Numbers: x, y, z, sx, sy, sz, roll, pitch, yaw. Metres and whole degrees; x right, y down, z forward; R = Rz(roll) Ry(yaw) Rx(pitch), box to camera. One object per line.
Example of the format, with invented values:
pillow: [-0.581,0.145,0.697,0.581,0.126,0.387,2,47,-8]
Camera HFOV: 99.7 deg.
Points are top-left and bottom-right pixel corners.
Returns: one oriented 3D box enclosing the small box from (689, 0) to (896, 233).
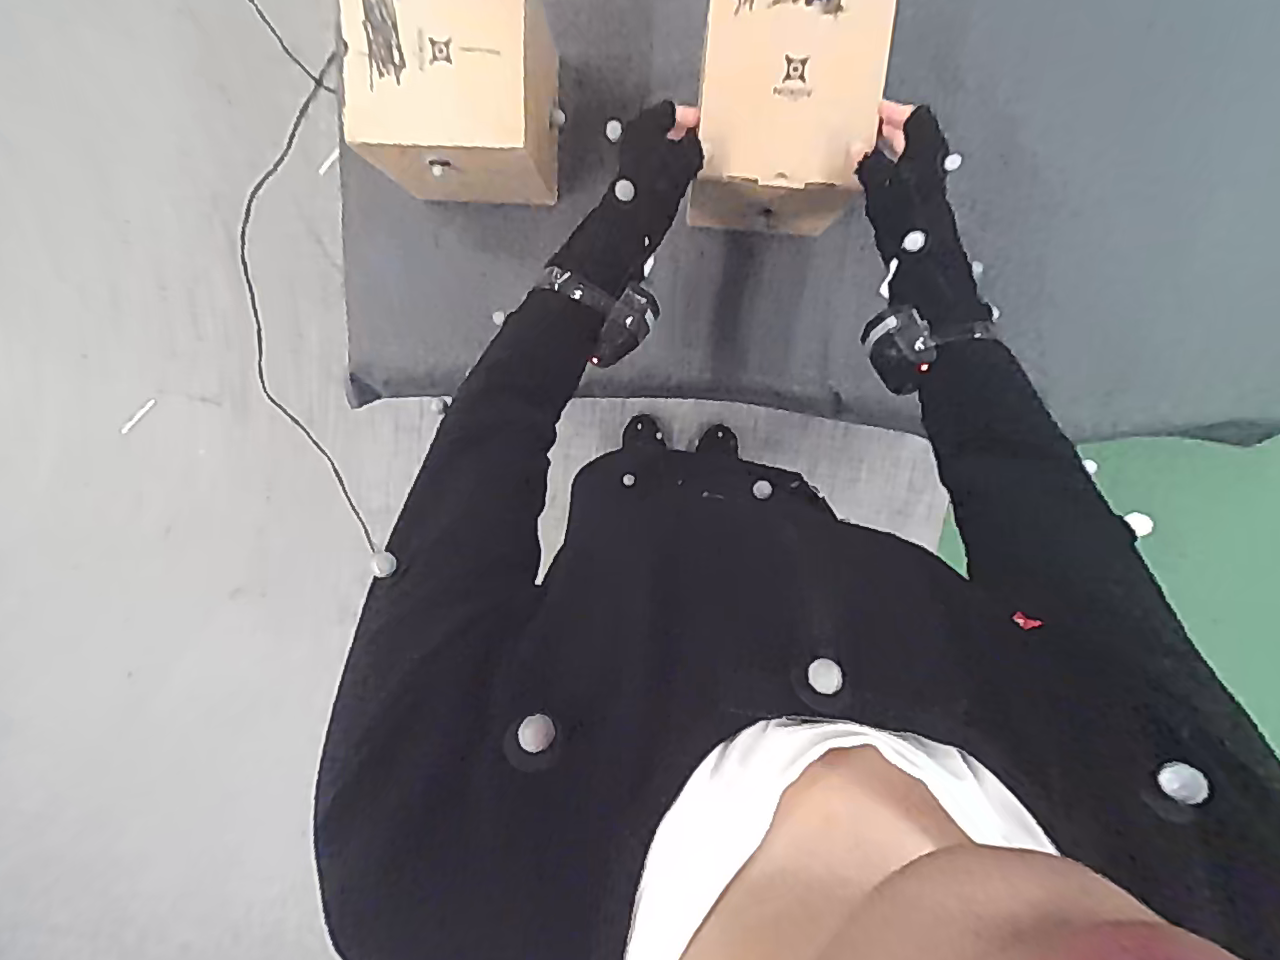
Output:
small box: [0.142,-0.376,0.573,0.168,0.176,0.179,5,101,1]

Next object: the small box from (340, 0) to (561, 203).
small box: [-0.188,-0.411,0.579,0.179,0.176,0.168,3,101,1]
